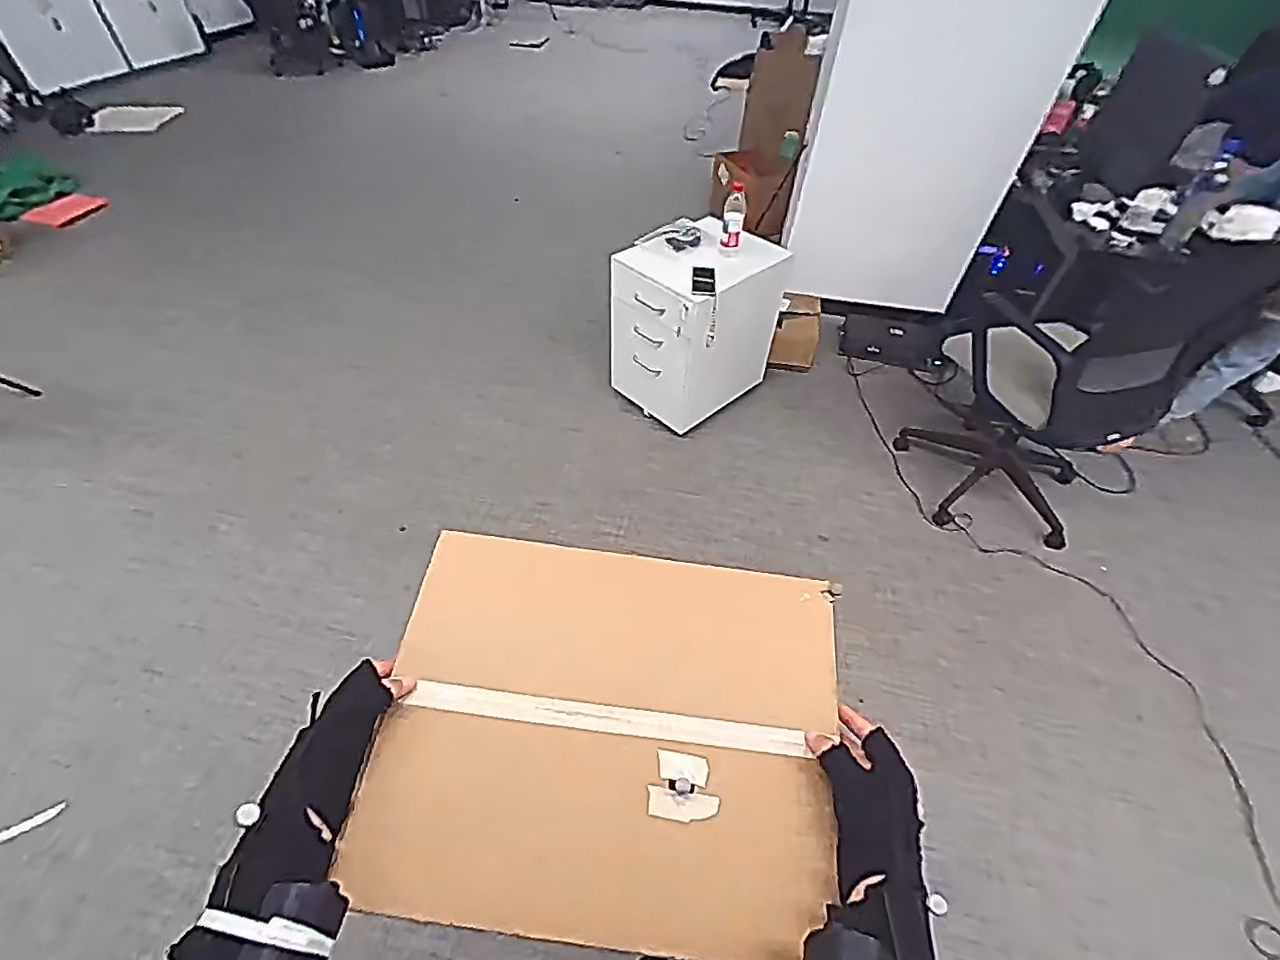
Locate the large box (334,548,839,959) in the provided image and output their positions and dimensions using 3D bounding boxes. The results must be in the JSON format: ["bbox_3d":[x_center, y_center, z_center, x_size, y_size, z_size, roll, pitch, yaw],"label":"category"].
[{"bbox_3d":[-0.038,0.298,0.620,0.408,0.320,0.320,7,60,0],"label":"large box"}]
